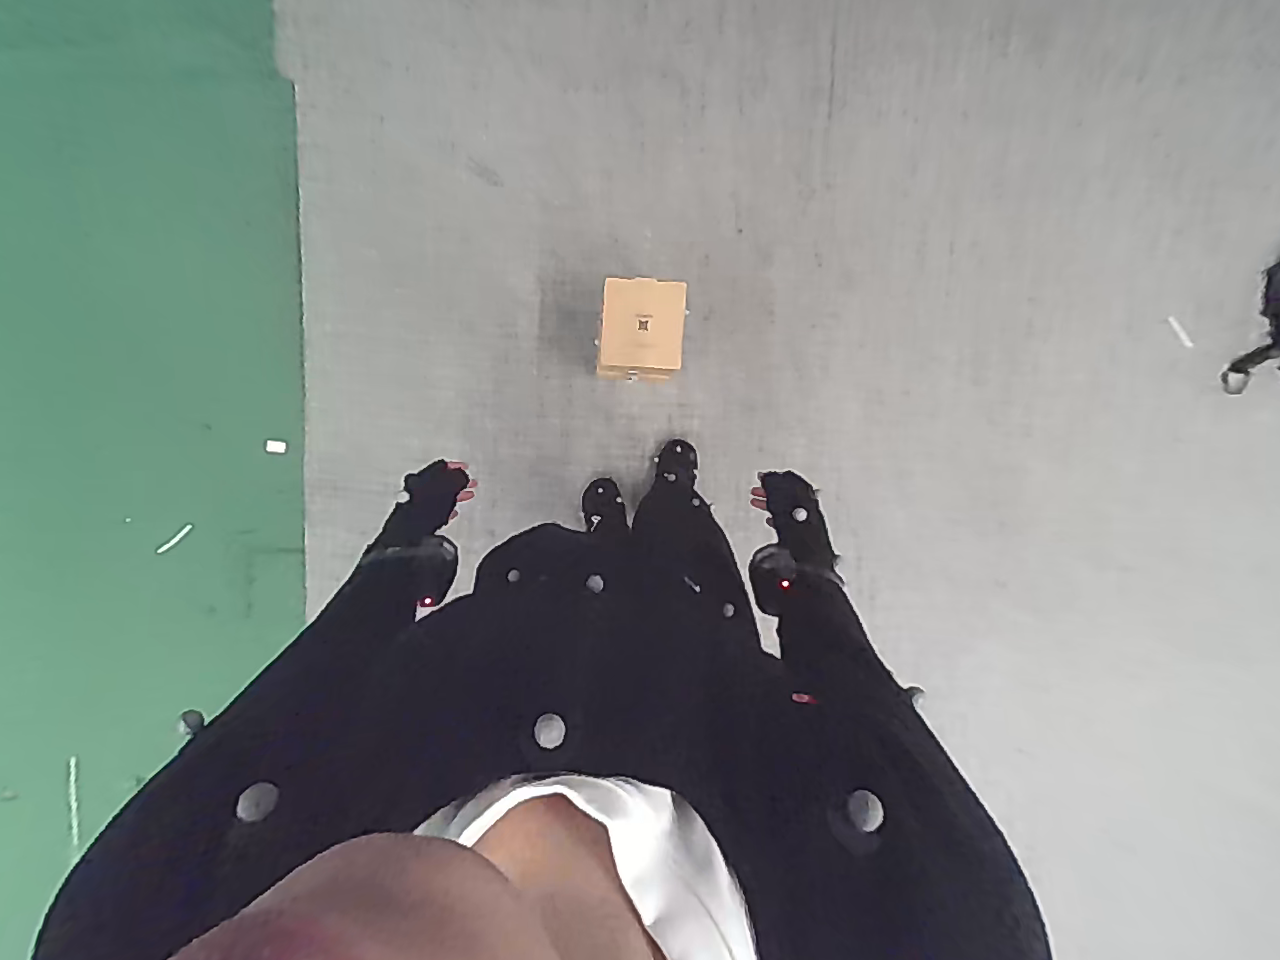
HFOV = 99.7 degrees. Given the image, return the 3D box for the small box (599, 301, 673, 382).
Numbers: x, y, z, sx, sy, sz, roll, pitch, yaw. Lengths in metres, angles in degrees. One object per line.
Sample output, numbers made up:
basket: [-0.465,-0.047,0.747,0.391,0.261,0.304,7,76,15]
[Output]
small box: [-0.004,-0.336,1.334,0.179,0.176,0.168,4,95,0]

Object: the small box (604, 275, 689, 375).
small box: [0.013,-0.328,1.173,0.168,0.176,0.179,3,96,0]
